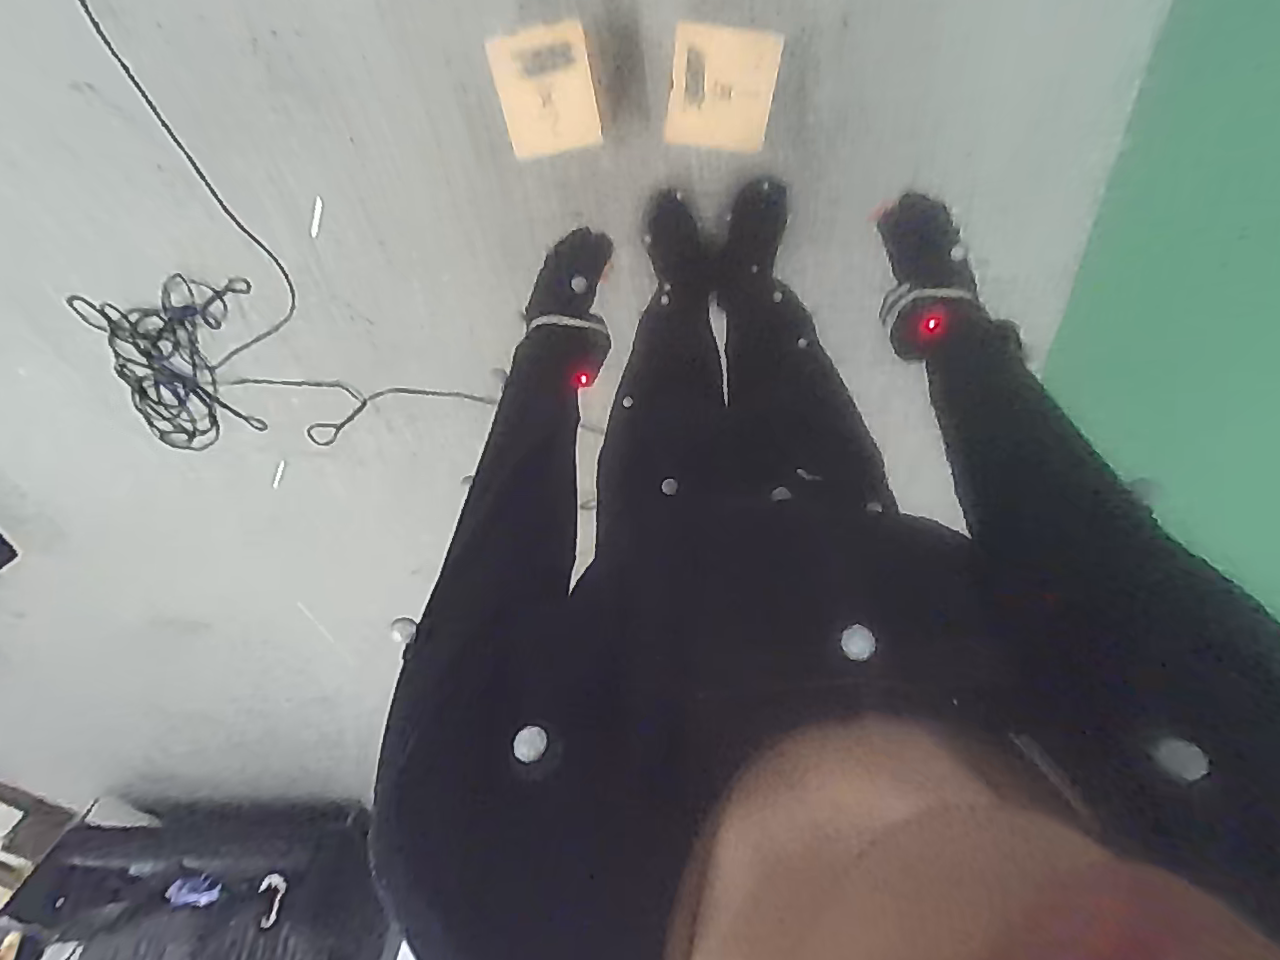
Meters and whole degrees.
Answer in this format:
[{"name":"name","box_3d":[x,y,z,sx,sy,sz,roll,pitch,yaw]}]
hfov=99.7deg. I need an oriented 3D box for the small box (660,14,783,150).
[{"name":"small box","box_3d":[0.134,-0.699,0.953,0.179,0.176,0.168,6,130,-2]}]
